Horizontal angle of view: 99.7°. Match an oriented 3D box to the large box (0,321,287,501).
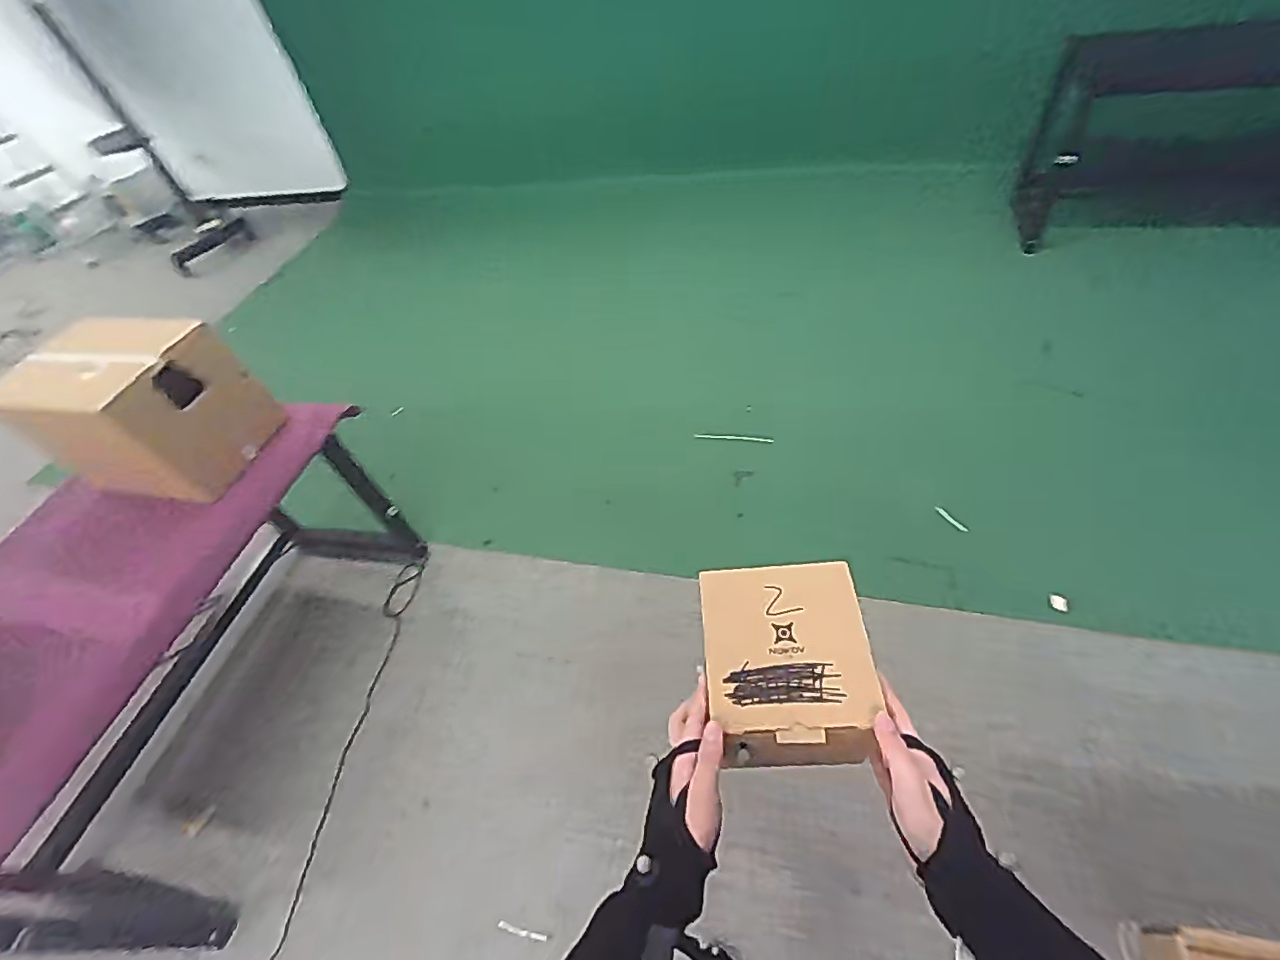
[{"bbox_3d":[-1.199,-0.169,1.319,0.408,0.320,0.320,5,53,14],"label":"large box"}]
